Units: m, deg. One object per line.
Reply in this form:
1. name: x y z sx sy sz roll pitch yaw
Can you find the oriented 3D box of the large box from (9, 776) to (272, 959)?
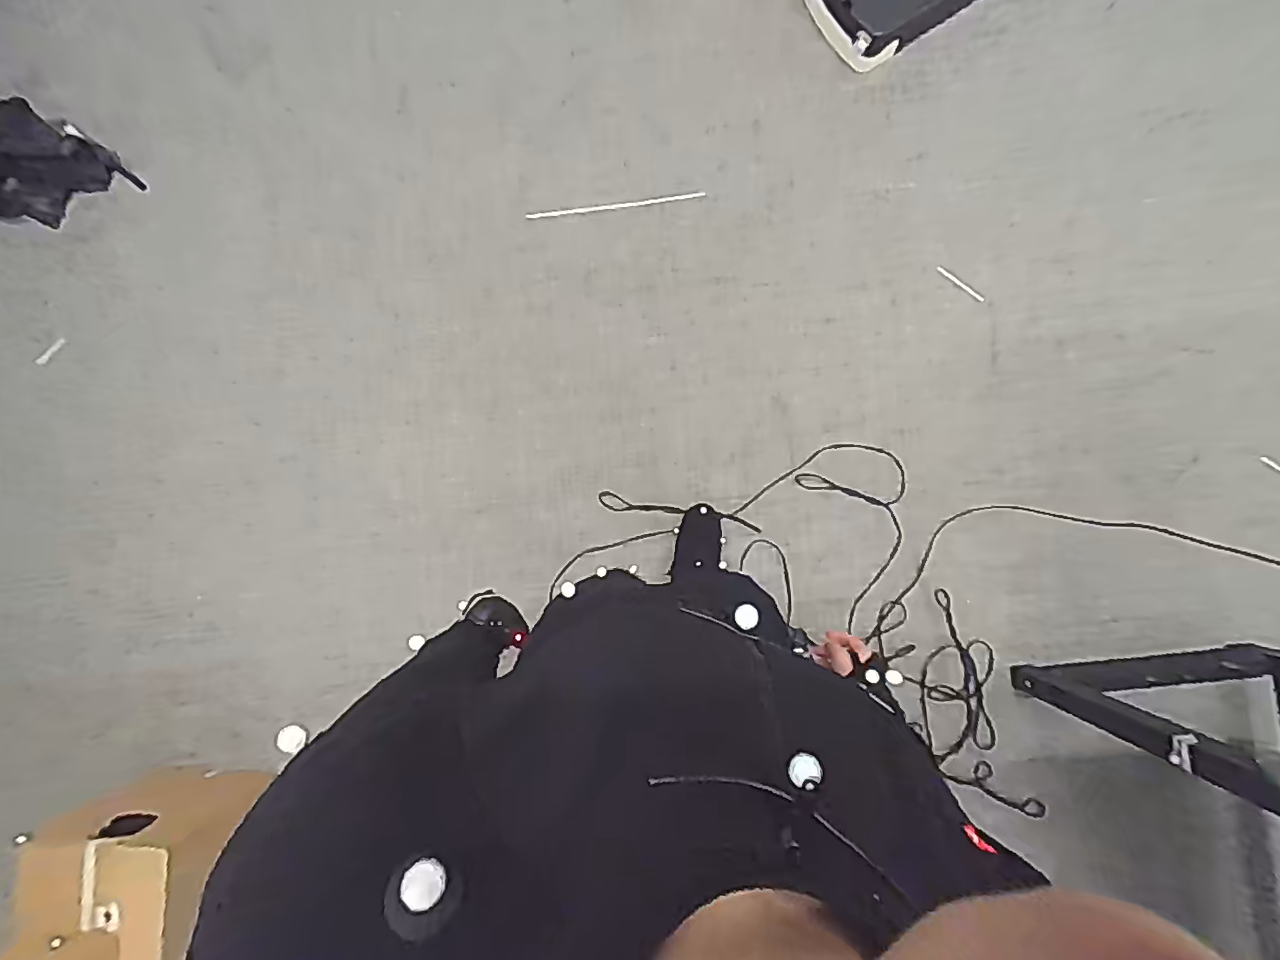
1. large box: -1.078 0.937 1.202 0.320 0.320 0.408 1 85 1
